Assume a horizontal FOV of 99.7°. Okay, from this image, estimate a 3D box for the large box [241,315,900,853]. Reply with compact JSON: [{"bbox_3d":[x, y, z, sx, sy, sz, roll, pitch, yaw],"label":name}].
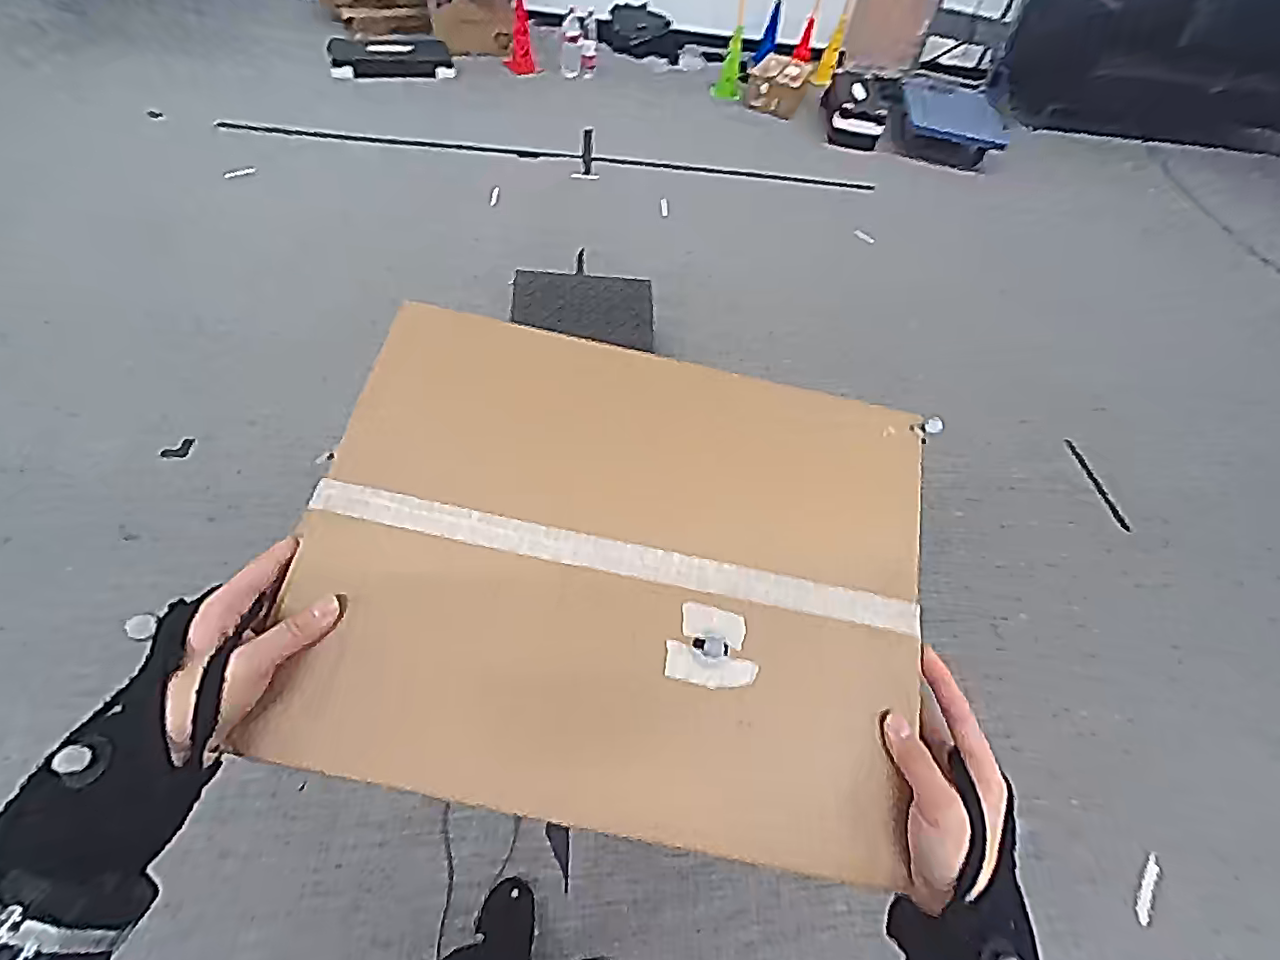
[{"bbox_3d":[-0.031,0.097,0.511,0.408,0.320,0.320,12,71,-2],"label":"large box"}]
